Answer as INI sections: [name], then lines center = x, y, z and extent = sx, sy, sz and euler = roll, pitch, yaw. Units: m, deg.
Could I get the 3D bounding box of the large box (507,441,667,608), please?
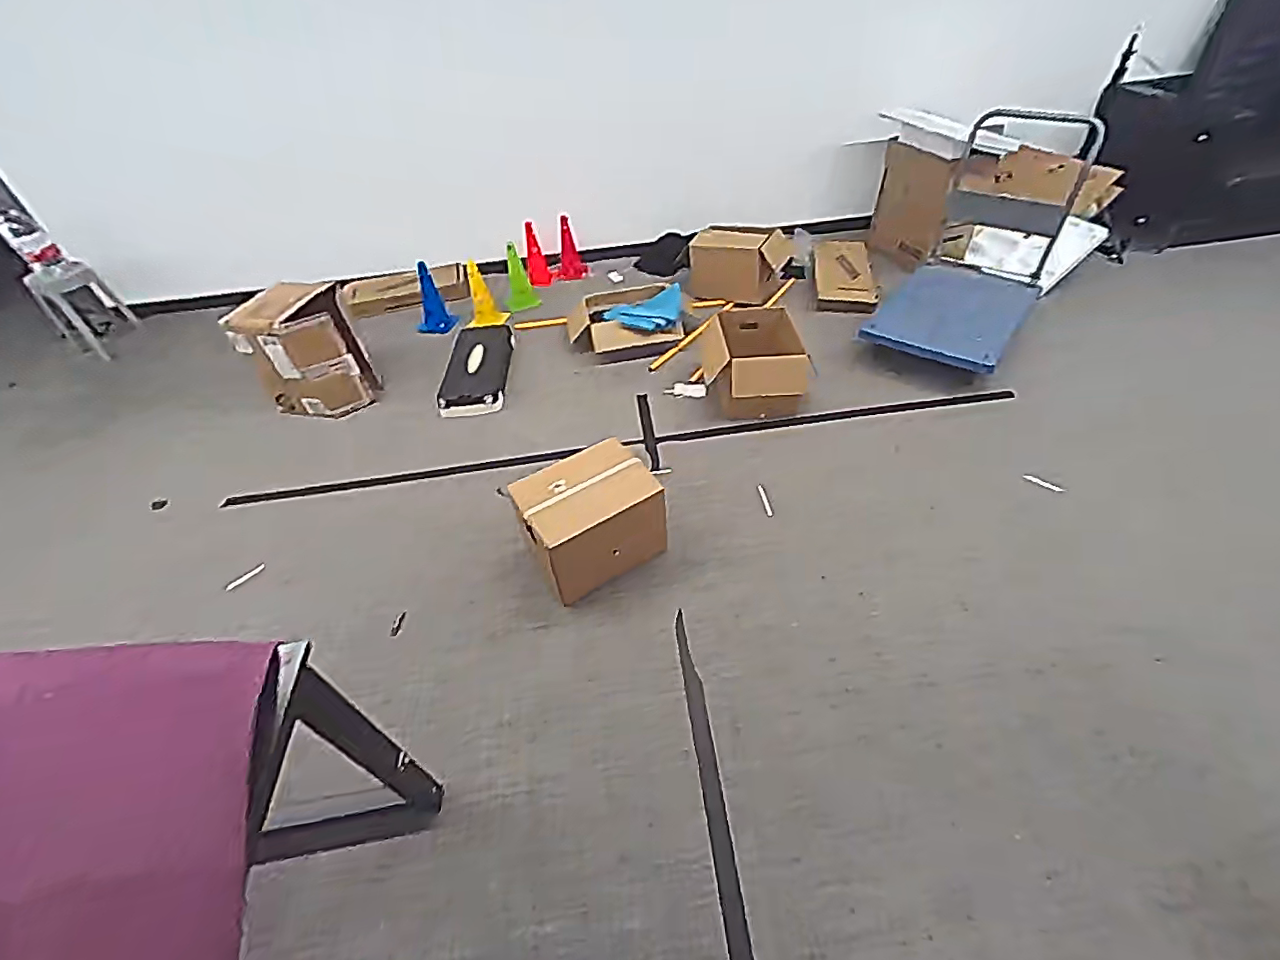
[large box]
center = -0.162, 0.142, 1.788
extent = 0.408, 0.320, 0.320
euler = -28, 48, -20
